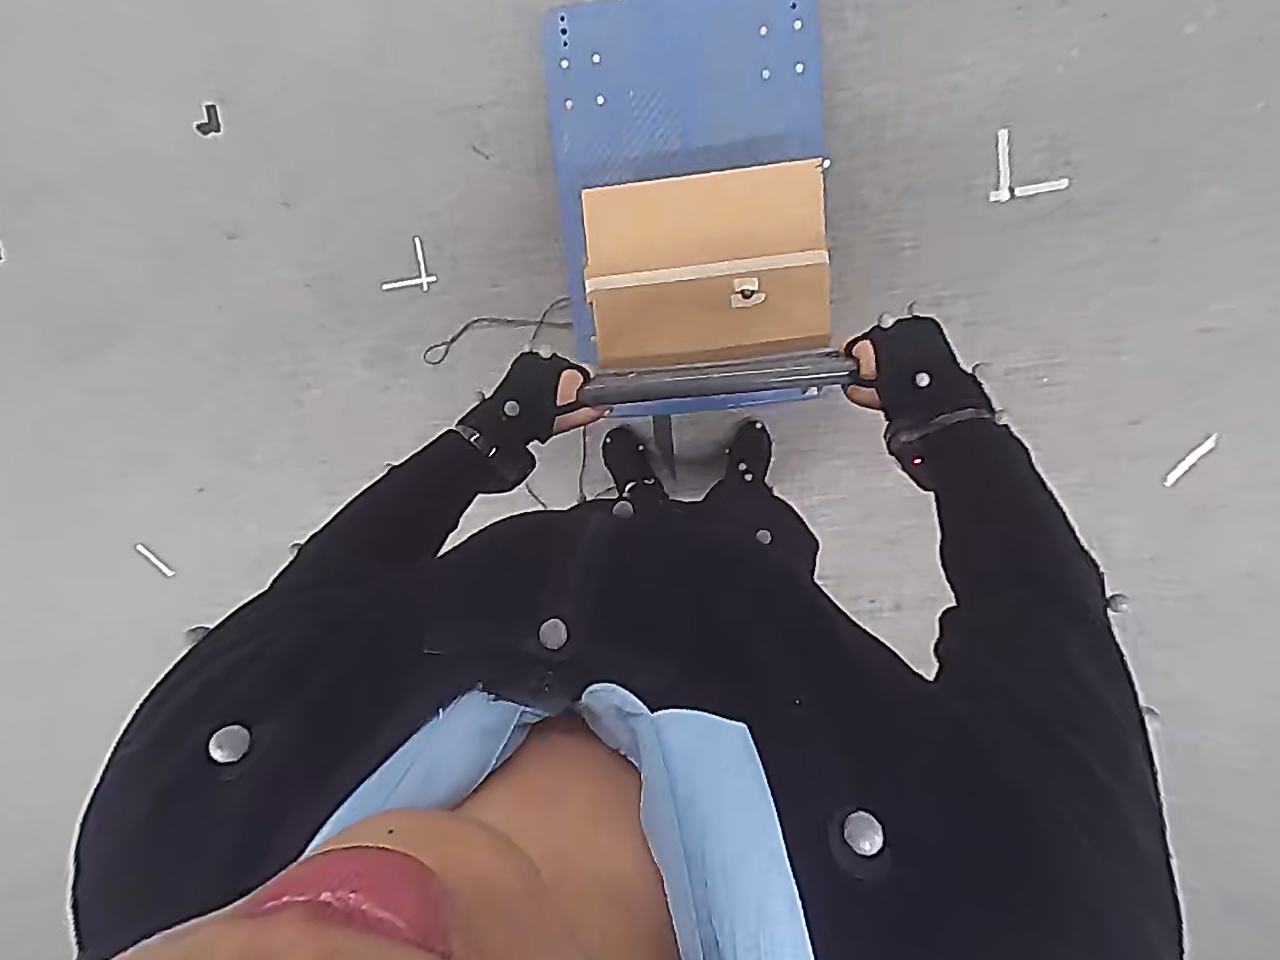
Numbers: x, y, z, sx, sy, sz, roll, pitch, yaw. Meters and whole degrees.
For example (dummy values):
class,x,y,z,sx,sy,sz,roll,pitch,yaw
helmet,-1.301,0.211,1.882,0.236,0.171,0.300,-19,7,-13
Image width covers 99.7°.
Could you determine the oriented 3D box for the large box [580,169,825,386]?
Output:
class,x,y,z,sx,sy,sz,roll,pitch,yaw
large box,0.117,-0.366,1.077,0.408,0.320,0.320,-5,99,5
